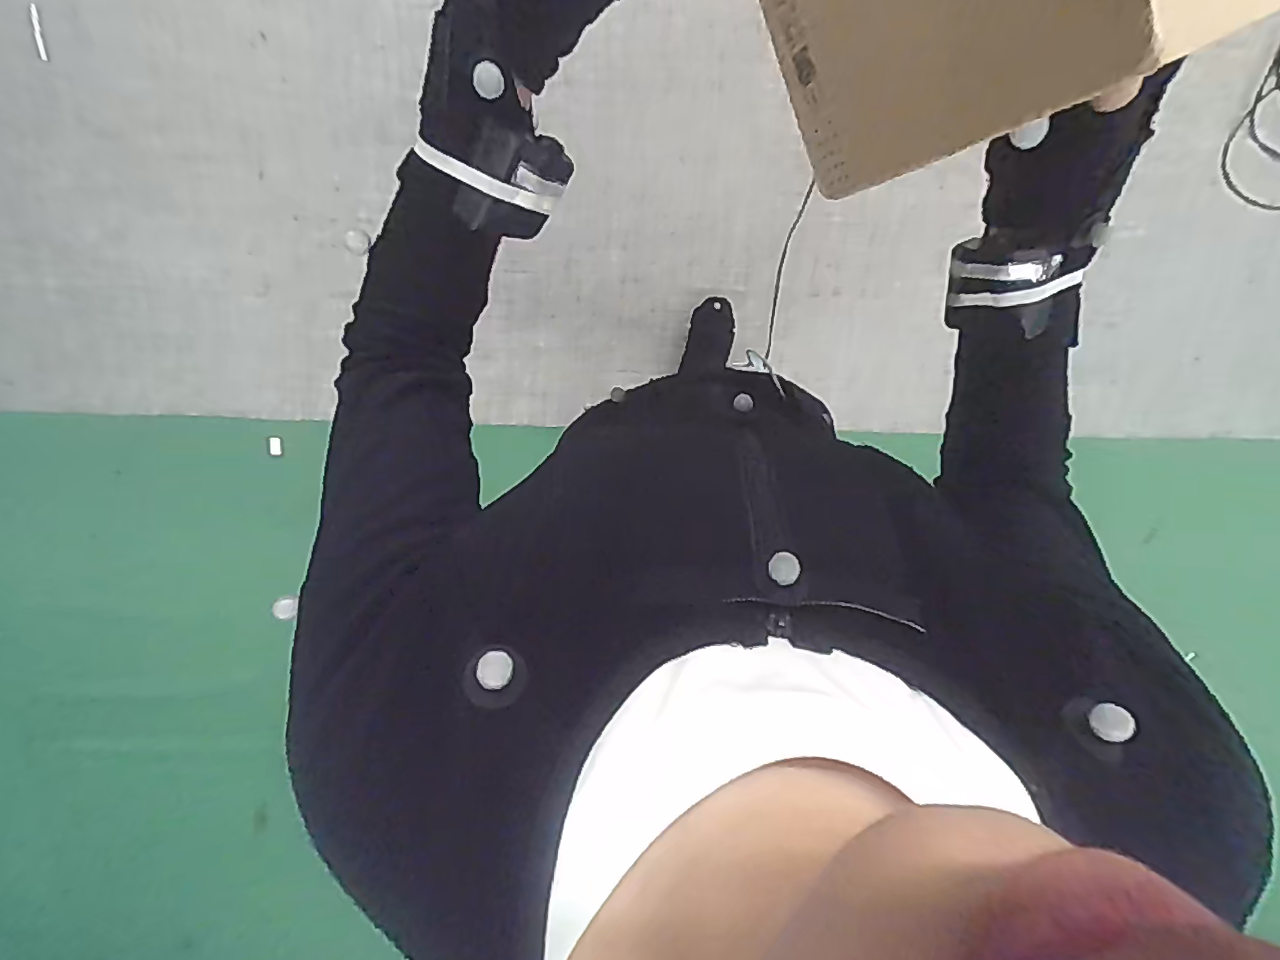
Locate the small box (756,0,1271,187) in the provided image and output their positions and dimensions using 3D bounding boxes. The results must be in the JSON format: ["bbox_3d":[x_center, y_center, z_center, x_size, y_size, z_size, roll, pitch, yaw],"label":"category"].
[{"bbox_3d":[0.153,-0.236,0.189,0.179,0.176,0.168,-28,109,-3],"label":"small box"}]
